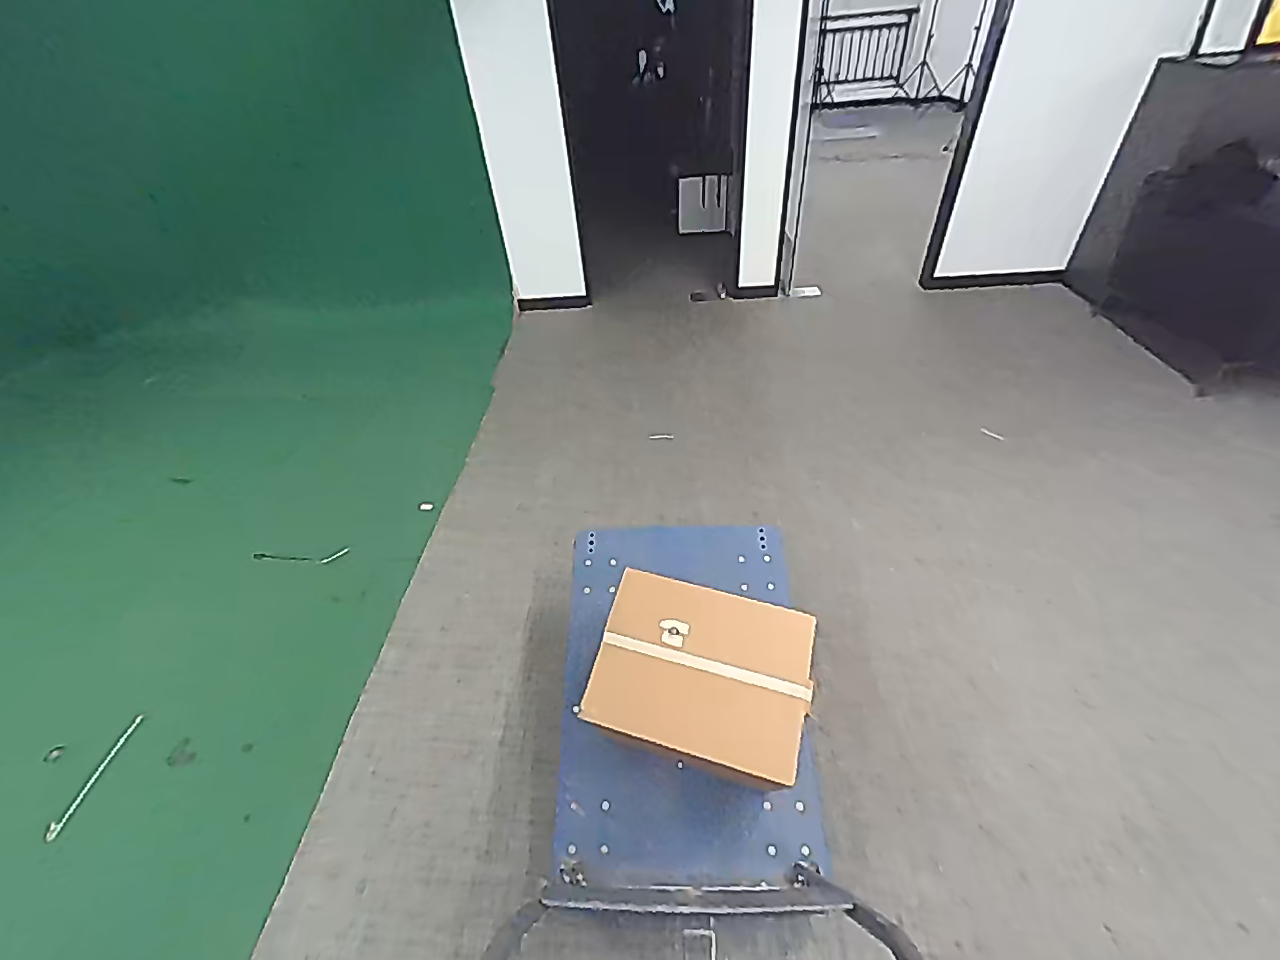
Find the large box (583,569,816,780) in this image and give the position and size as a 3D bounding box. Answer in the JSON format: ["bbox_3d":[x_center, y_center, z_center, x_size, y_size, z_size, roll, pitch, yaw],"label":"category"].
[{"bbox_3d":[0.138,0.427,1.173,0.408,0.320,0.320,12,61,13],"label":"large box"}]
